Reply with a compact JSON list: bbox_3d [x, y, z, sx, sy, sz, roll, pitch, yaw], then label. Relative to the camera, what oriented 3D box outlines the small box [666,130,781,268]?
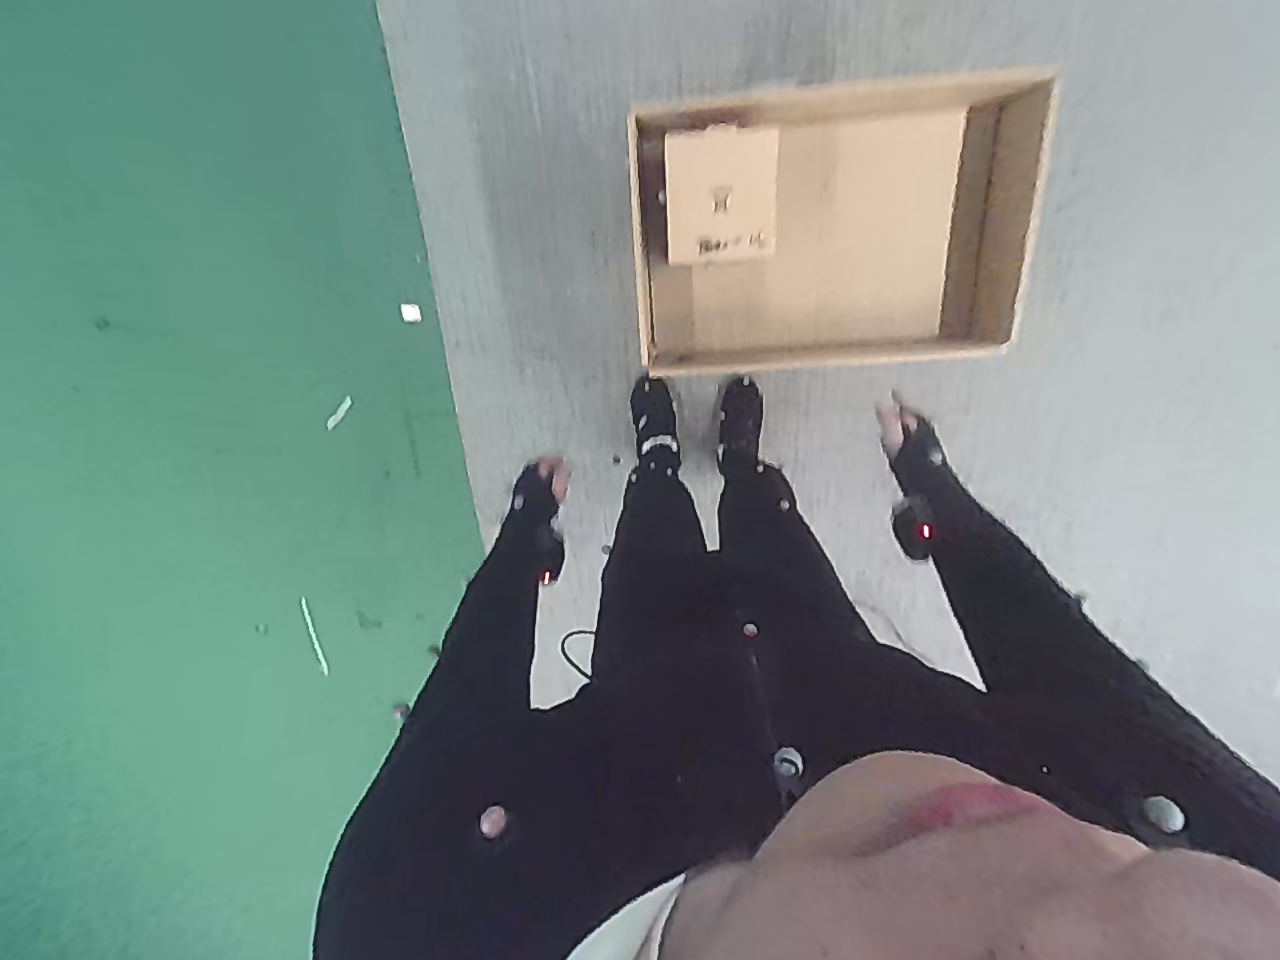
[{"bbox_3d":[0.126,-0.444,0.881,0.168,0.176,0.179,-1,110,3],"label":"small box"}]
